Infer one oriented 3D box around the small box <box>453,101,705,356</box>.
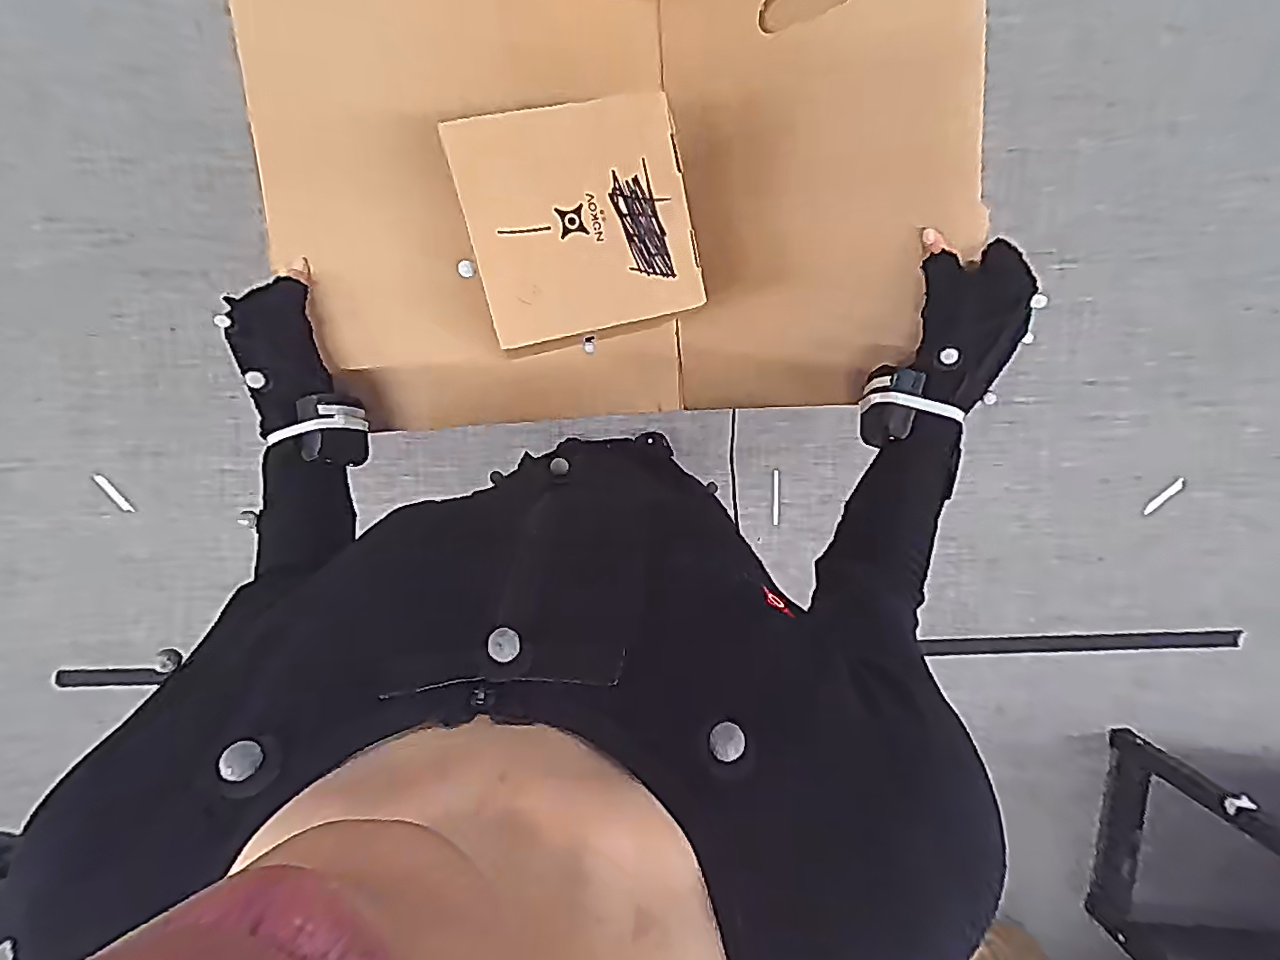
[{"bbox_3d":[-0.060,-0.217,0.508,0.179,0.176,0.168,-15,102,-10],"label":"small box"}]
